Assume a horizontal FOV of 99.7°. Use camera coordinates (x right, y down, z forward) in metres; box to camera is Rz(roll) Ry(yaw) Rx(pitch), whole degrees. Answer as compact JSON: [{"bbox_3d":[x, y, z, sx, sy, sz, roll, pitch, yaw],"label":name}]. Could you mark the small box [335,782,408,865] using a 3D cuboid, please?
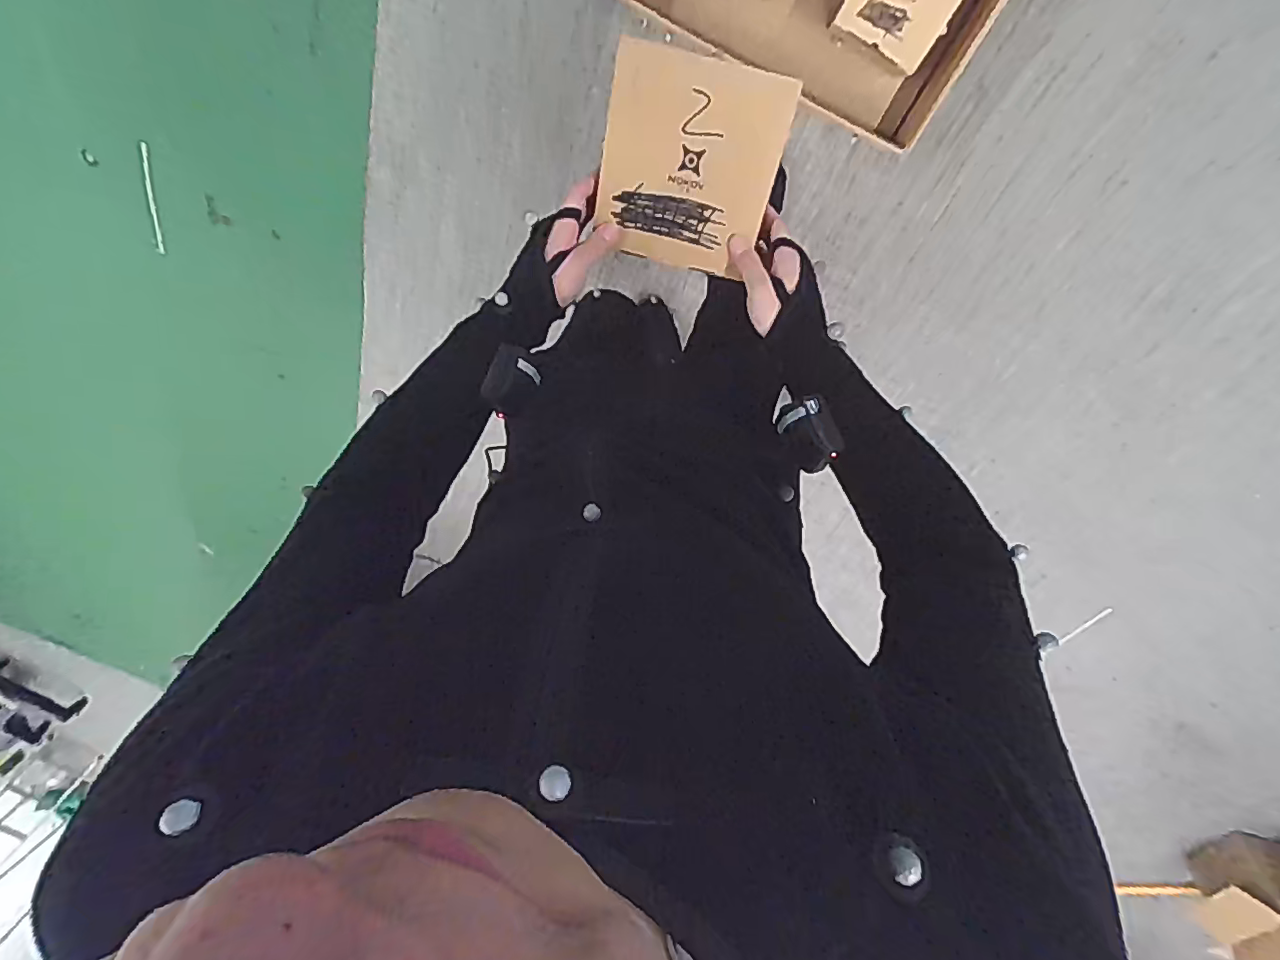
[{"bbox_3d":[-0.929,1.190,1.876,0.168,0.176,0.179,23,126,-3],"label":"small box"}]
